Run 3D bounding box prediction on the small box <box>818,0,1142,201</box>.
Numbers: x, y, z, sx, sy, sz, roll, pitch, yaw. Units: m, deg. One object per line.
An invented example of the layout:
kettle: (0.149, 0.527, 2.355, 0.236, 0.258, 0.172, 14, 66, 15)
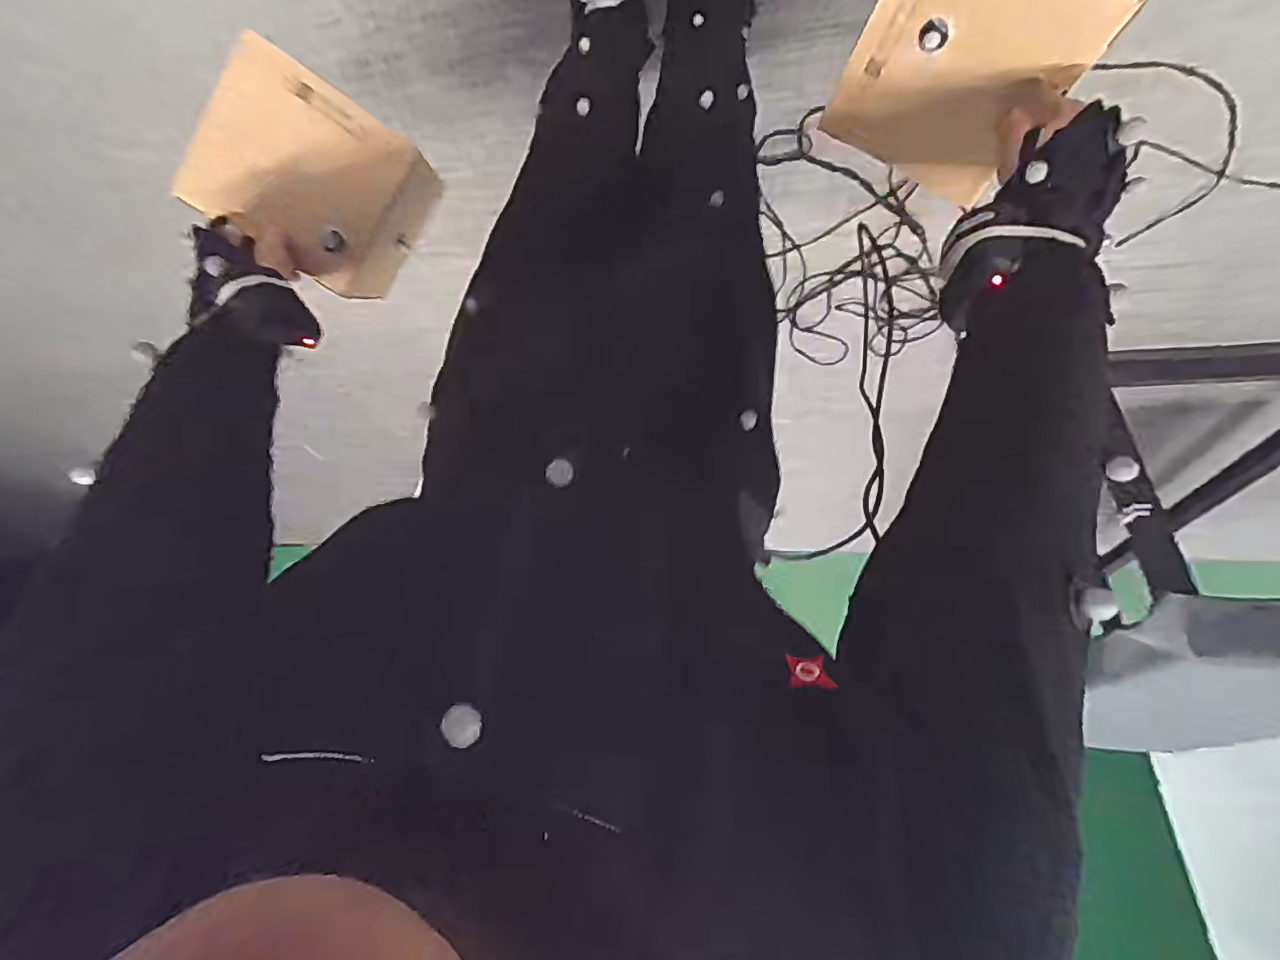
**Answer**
small box: (0.286, -0.396, 0.471, 0.176, 0.179, 0.168, 30, 153, 2)
